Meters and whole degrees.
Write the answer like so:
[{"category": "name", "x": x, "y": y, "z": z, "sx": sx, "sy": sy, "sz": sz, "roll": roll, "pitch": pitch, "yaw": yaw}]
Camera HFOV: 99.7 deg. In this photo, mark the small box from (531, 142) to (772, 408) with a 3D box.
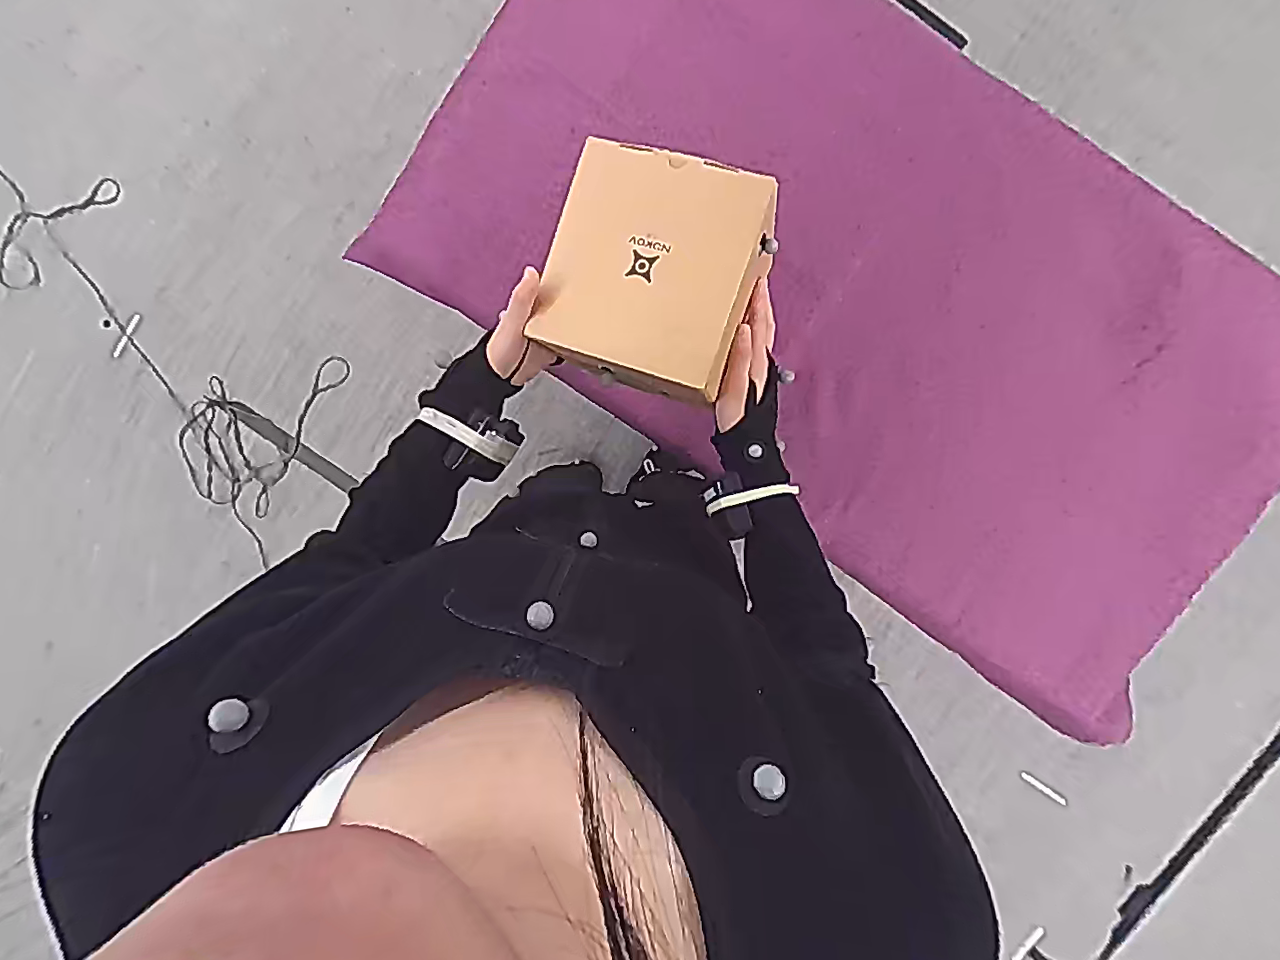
[{"category": "small box", "x": 0.021, "y": -0.181, "z": 0.529, "sx": 0.168, "sy": 0.176, "sz": 0.179, "roll": 19, "pitch": 92, "yaw": 11}]
